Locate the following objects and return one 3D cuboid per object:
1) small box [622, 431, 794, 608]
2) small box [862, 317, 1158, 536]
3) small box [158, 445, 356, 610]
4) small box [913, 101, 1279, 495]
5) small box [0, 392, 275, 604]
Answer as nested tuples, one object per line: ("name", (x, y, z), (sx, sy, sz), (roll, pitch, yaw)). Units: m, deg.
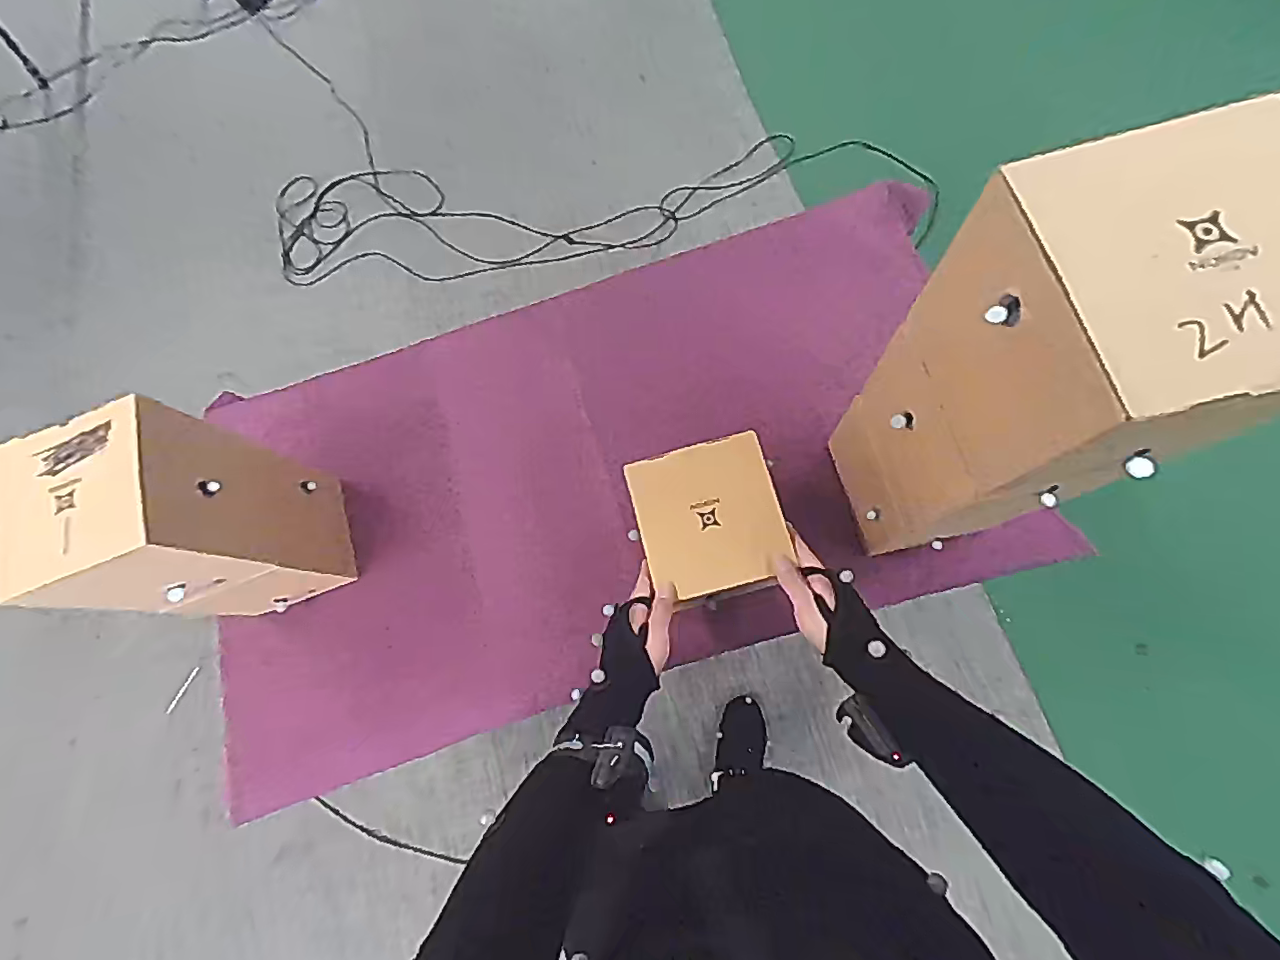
("small box", (0.088, 0.063, 0.703), (0.168, 0.176, 0.179), (-16, 71, 4))
("small box", (0.340, -0.058, 0.532), (0.168, 0.176, 0.179), (-14, 72, 4))
("small box", (-0.544, 0.077, 0.777), (0.168, 0.176, 0.179), (-20, 74, 1))
("small box", (0.320, -0.105, 0.376), (0.168, 0.176, 0.179), (-13, 73, 4))
("small box", (-0.563, 0.032, 0.621), (0.168, 0.176, 0.179), (-21, 74, 2))
